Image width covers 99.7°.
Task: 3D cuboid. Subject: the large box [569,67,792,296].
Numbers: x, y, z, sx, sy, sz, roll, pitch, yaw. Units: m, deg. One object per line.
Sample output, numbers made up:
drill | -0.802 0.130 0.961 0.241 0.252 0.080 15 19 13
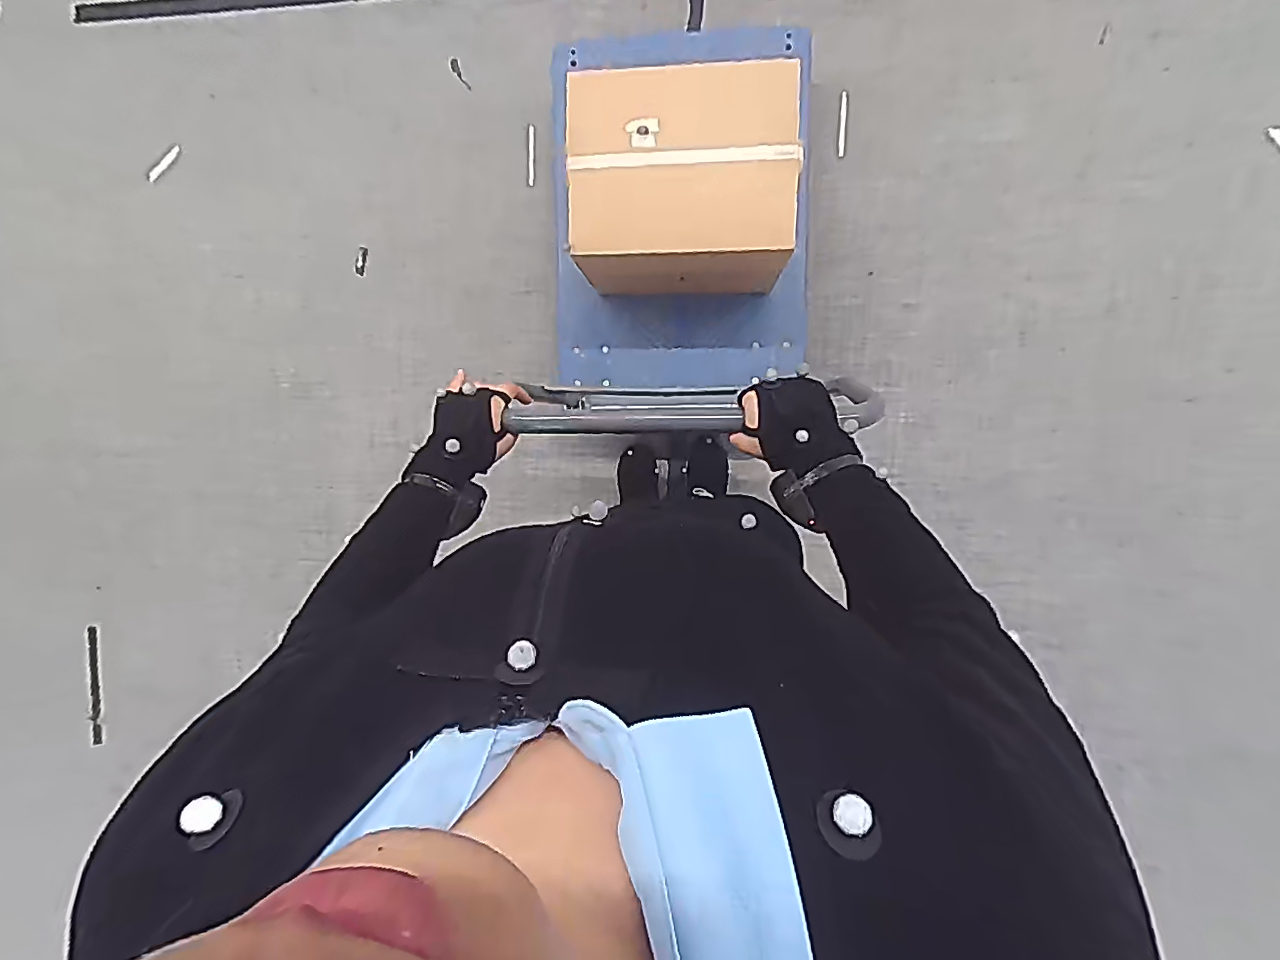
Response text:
large box | 0.088 -0.576 1.117 0.408 0.320 0.320 1 95 6
